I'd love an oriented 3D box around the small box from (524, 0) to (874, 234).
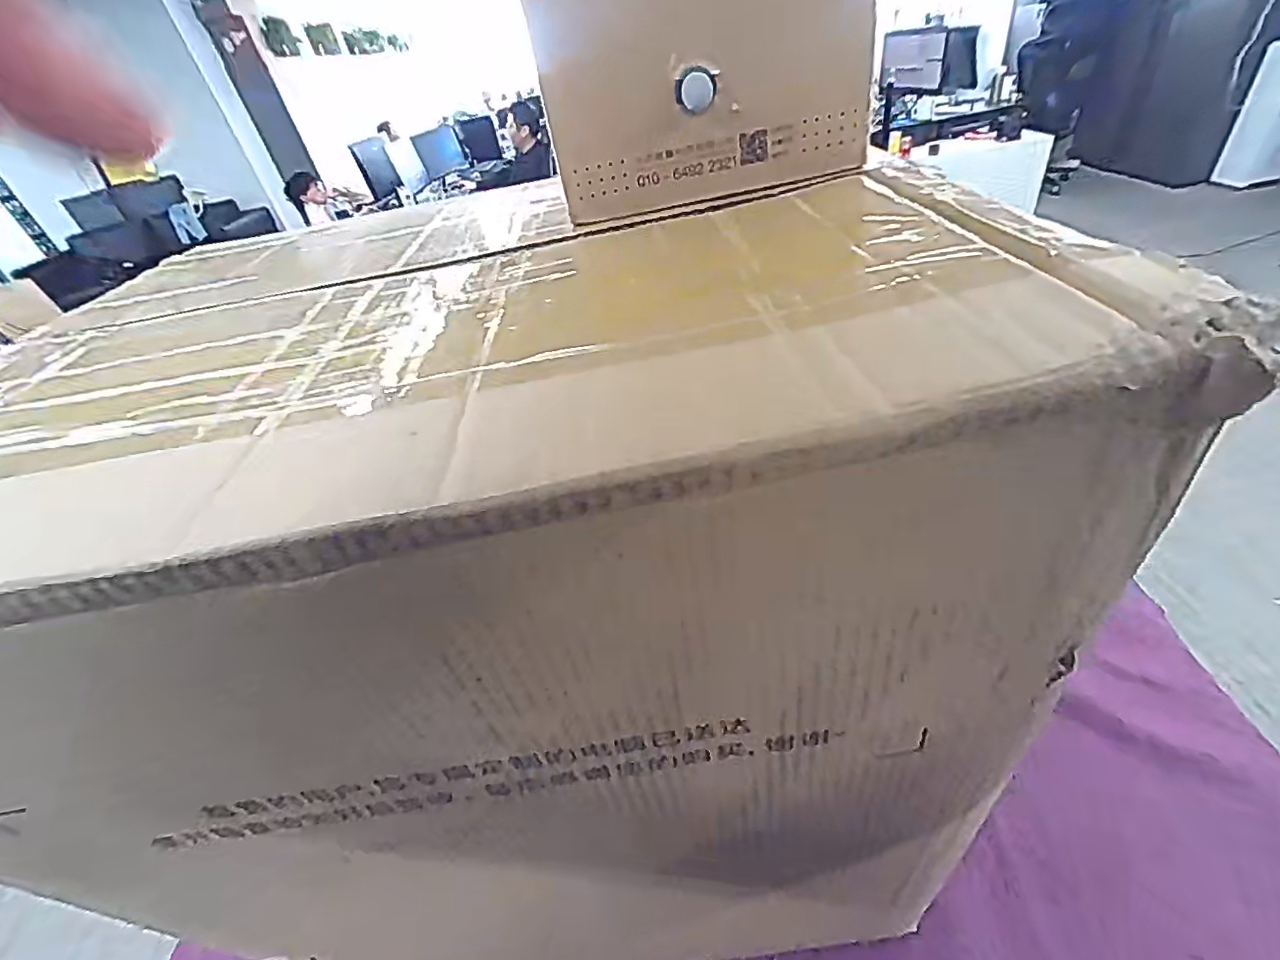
[{"bbox_3d":[0.027,-0.263,0.321,0.168,0.176,0.179,-9,39,5],"label":"small box"}]
